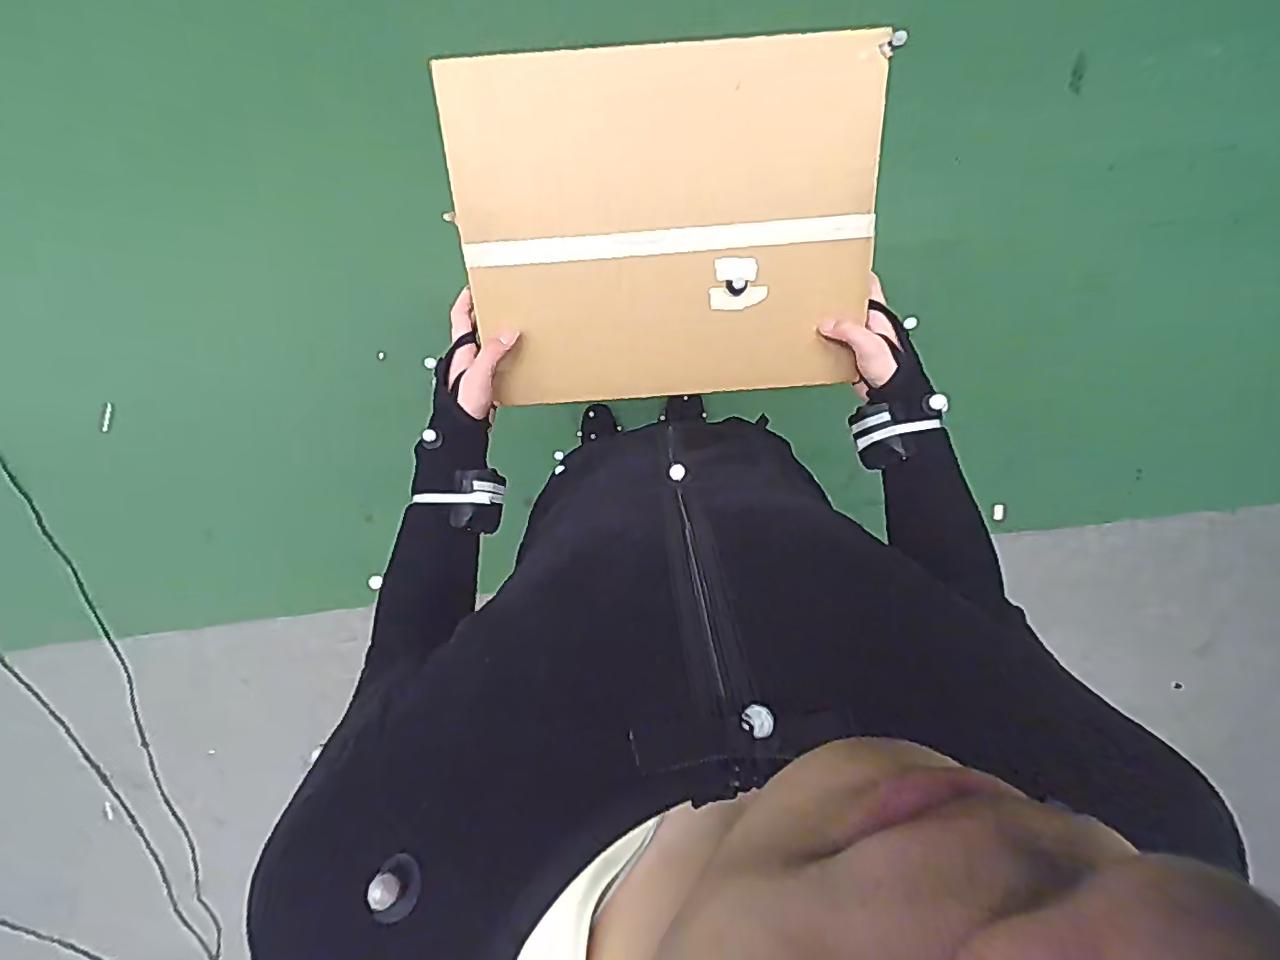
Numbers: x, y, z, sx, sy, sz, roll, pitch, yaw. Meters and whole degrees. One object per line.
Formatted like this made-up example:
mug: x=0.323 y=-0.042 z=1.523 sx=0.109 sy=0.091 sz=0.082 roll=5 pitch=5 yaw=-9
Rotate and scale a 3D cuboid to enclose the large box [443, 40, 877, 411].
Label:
large box: x=0.024 y=-0.293 z=0.681 sx=0.408 sy=0.320 sz=0.320 roll=-5 pitch=114 yaw=0
